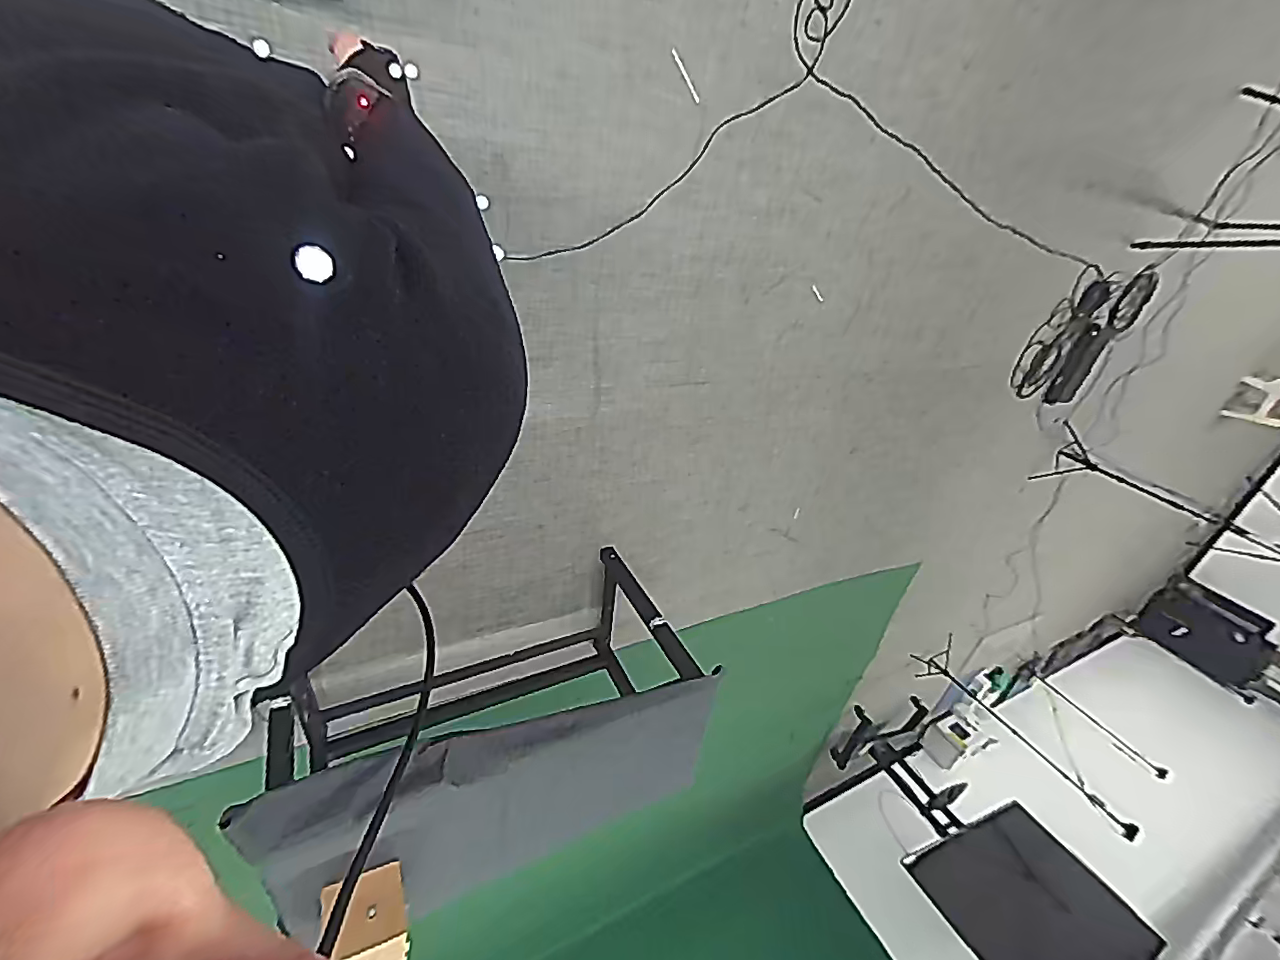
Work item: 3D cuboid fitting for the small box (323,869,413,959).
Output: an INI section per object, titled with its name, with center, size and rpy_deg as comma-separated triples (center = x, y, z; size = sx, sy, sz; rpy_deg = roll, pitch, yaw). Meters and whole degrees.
[small box]
center = -0.661, 1.097, 1.312
size = 0.179, 0.176, 0.168
rpy_deg = -4, 121, -31
